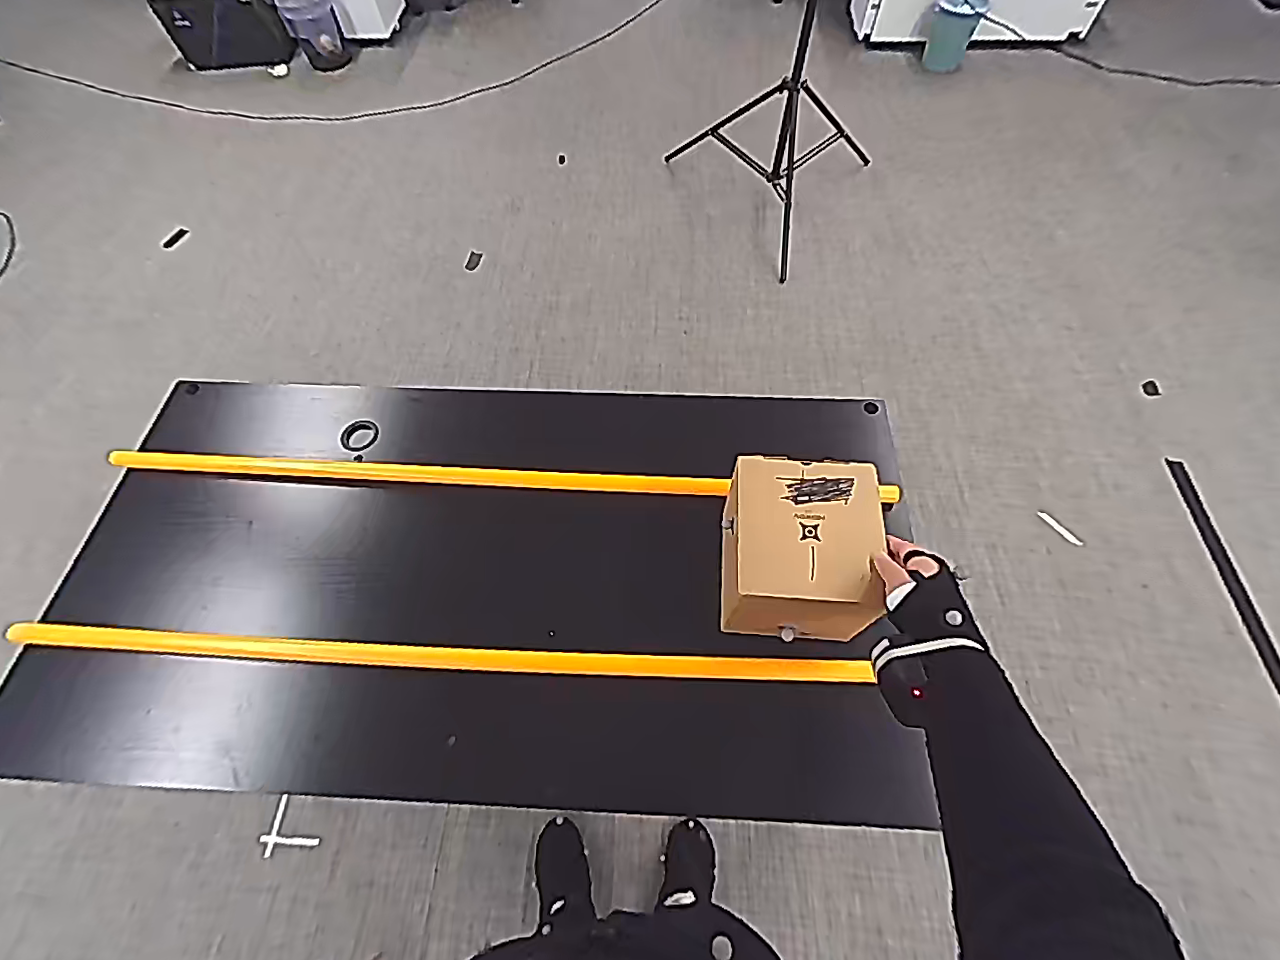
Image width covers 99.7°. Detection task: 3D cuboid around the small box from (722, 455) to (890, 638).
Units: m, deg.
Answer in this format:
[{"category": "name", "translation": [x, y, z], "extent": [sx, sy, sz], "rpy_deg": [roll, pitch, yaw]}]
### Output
[{"category": "small box", "translation": [0.195, 0.089, 0.690], "extent": [0.168, 0.176, 0.179], "rpy_deg": [3, 61, 4]}]
